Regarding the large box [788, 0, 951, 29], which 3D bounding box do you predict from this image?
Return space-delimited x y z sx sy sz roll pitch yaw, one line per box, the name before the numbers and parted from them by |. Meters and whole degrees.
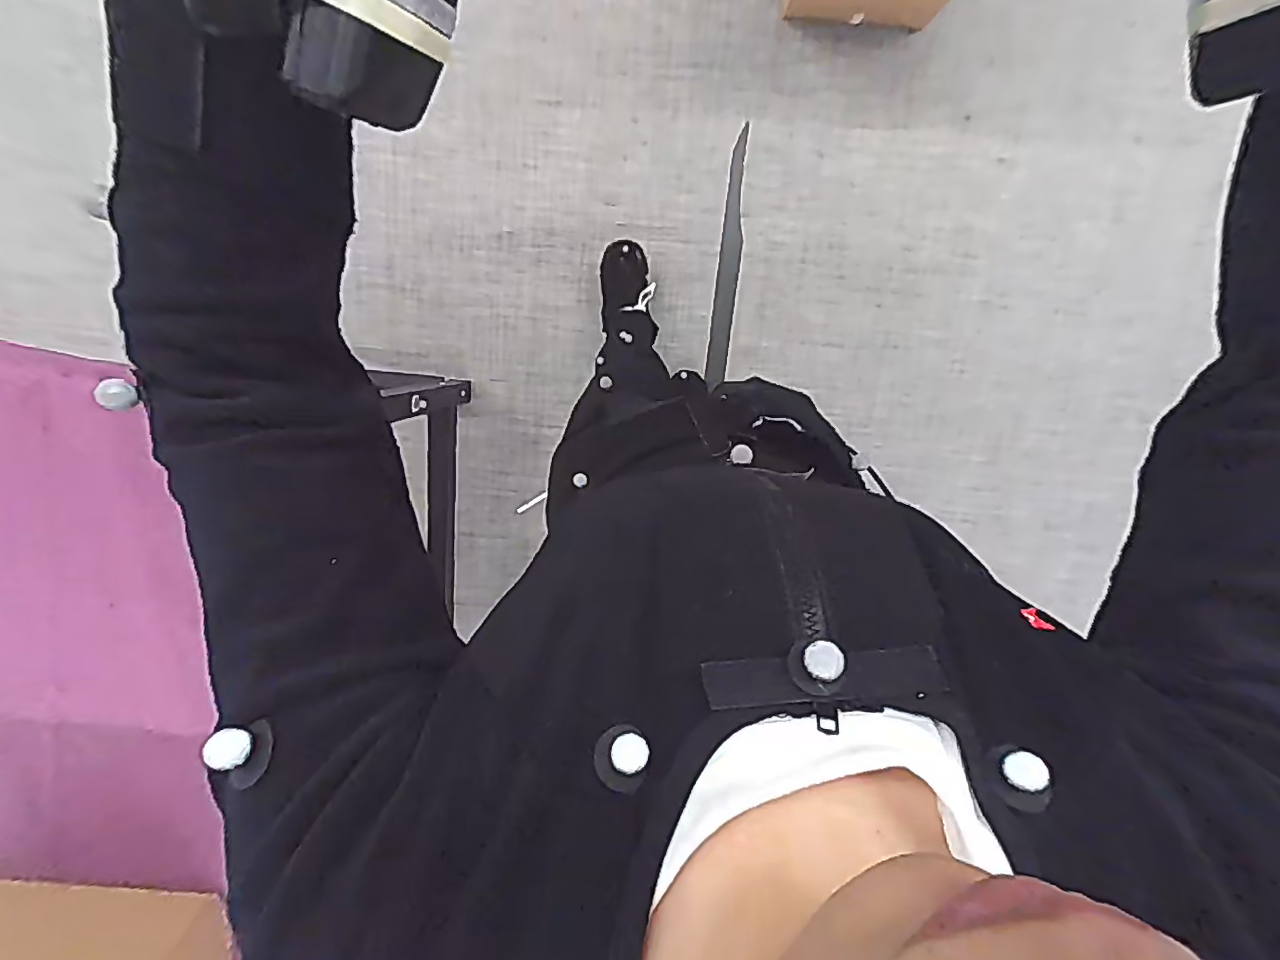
large box | 0.472 -1.127 0.961 0.320 0.320 0.408 4 104 1
